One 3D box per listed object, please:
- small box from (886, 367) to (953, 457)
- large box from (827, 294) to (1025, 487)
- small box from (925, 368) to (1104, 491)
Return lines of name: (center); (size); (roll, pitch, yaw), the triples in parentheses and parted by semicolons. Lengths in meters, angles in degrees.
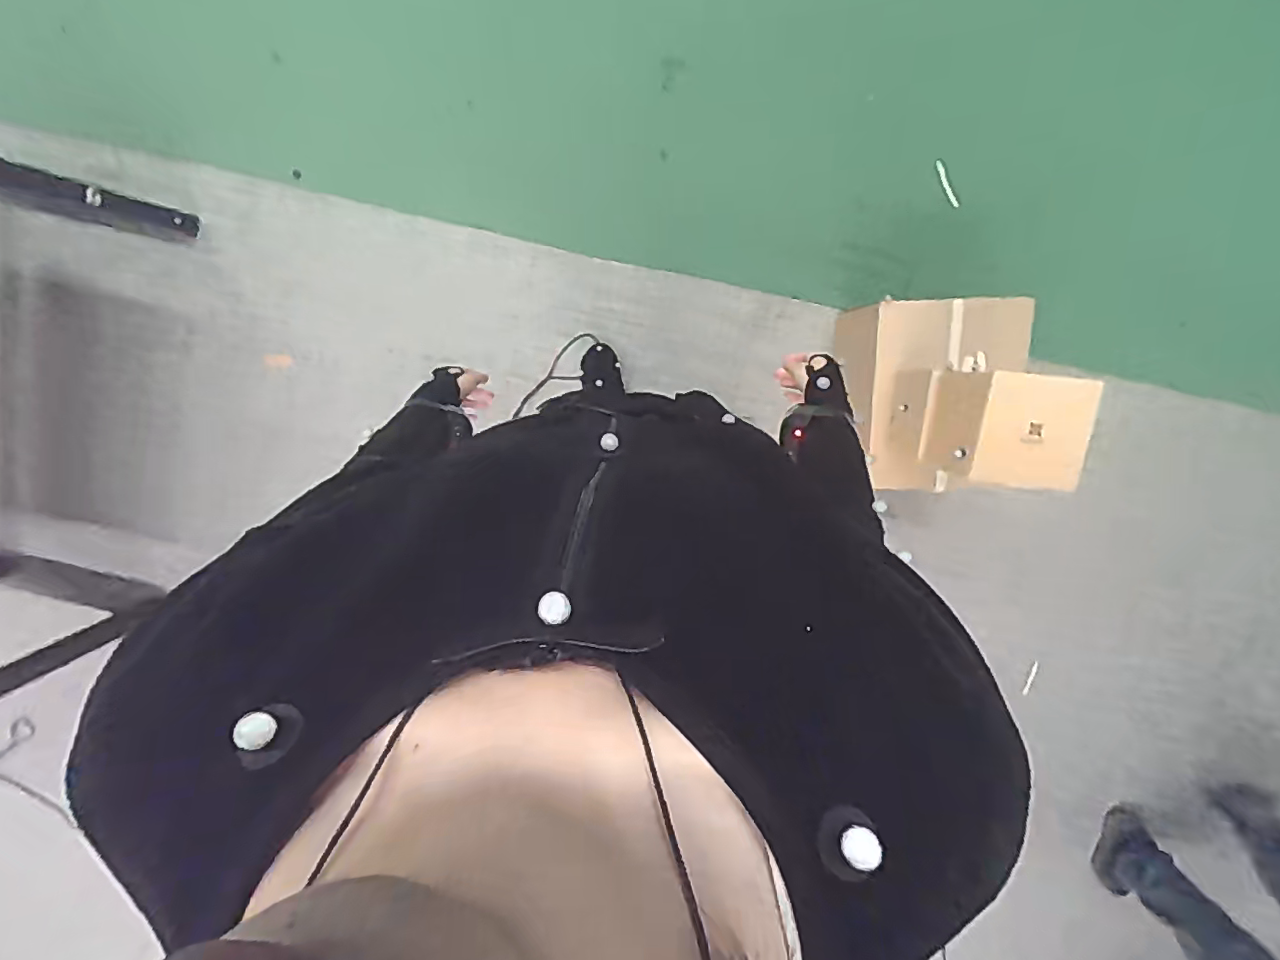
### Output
small box: (0.608, -0.132, 1.061); (0.179, 0.176, 0.168); (5, 103, 2)
large box: (0.649, -0.209, 1.295); (0.320, 0.320, 0.408); (-1, 101, 2)
small box: (0.607, -0.093, 0.903); (0.168, 0.176, 0.179); (6, 103, 2)
